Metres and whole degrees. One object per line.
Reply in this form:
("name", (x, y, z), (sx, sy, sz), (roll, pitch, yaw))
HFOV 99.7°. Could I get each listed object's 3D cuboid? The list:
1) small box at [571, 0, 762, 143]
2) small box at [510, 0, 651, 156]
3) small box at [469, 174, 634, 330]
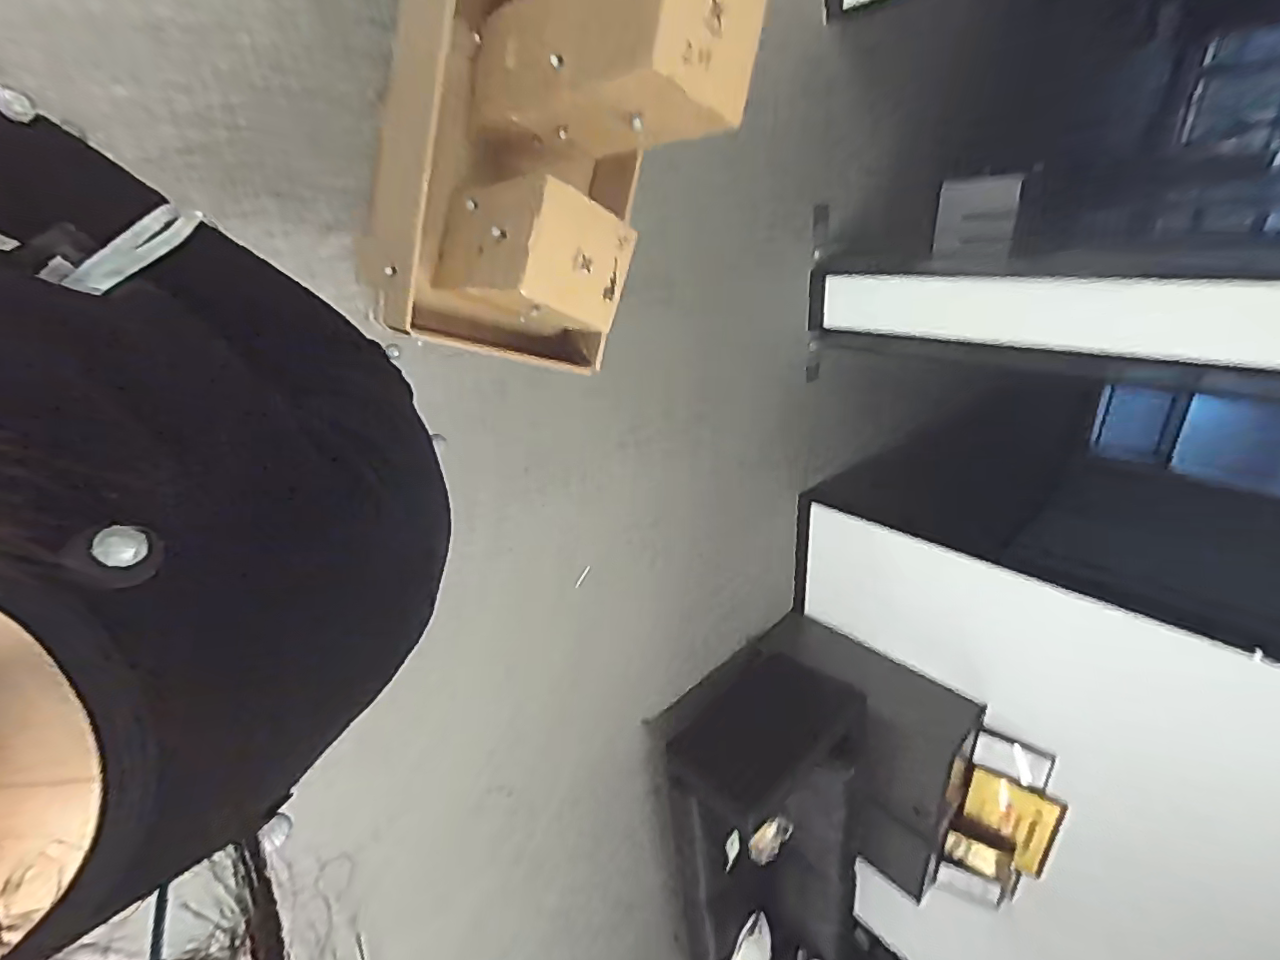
("small box", (0.029, -0.572, 0.702), (0.168, 0.176, 0.179), (0, 108, -43))
("small box", (-0.078, -0.622, 0.817), (0.168, 0.176, 0.179), (1, 107, -44))
("small box", (-0.146, -0.351, 0.860), (0.179, 0.176, 0.168), (11, 99, -45))
